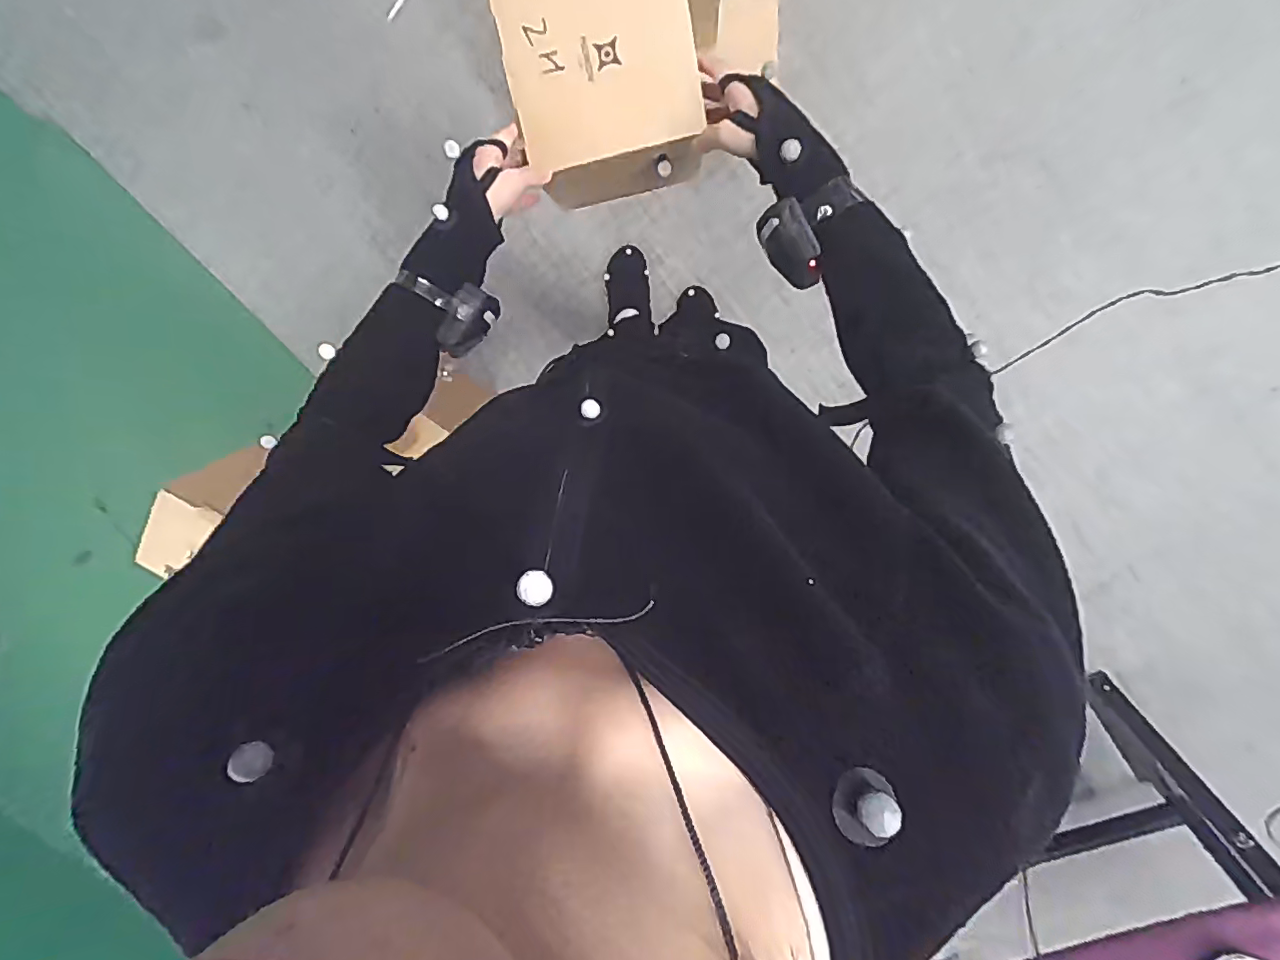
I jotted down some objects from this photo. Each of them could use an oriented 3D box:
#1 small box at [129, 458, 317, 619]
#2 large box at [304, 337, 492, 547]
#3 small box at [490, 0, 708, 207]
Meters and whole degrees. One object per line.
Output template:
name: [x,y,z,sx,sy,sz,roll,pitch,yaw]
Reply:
small box: [-0.690,0.089,0.916,0.168,0.176,0.179,36,111,-9]
large box: [-0.662,-0.112,1.452,0.320,0.320,0.408,36,114,-8]
small box: [-0.034,-0.404,0.560,0.179,0.176,0.168,-10,103,6]
